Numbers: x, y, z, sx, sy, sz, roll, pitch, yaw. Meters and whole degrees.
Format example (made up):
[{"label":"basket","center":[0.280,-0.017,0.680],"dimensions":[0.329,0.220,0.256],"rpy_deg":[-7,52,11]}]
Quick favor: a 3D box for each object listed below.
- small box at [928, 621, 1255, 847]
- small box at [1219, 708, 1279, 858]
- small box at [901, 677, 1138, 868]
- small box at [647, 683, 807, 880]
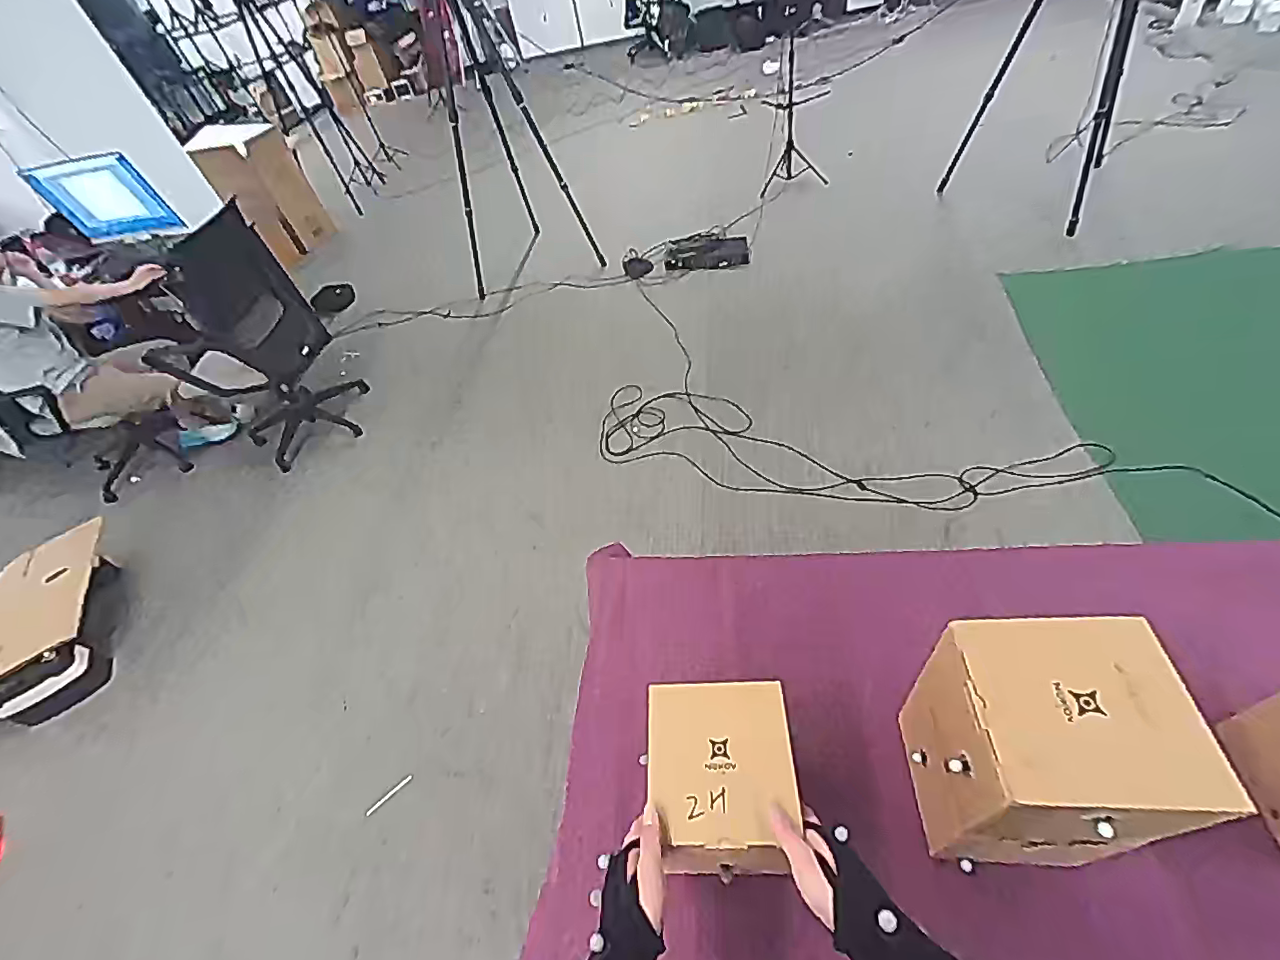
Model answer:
[{"label":"small box","center":[0.407,0.254,0.538],"dimensions":[0.179,0.176,0.168],"rpy_deg":[-3,49,10]},{"label":"small box","center":[0.820,0.338,0.587],"dimensions":[0.179,0.176,0.168],"rpy_deg":[-3,48,11]},{"label":"small box","center":[0.436,0.358,0.661],"dimensions":[0.168,0.176,0.179],"rpy_deg":[-3,48,10]},{"label":"small box","center":[0.101,0.370,0.666],"dimensions":[0.168,0.176,0.179],"rpy_deg":[-4,46,7]}]
